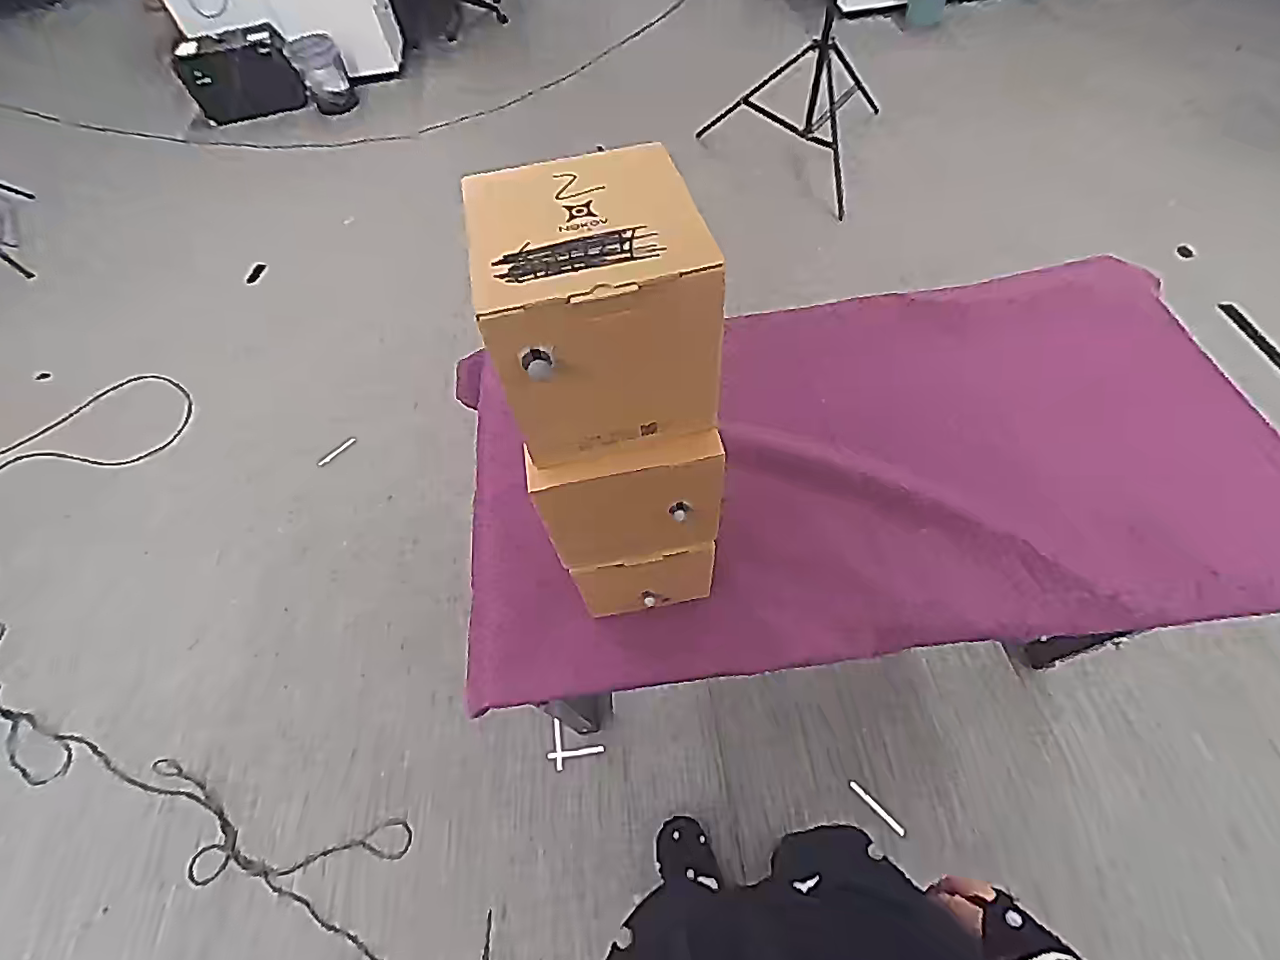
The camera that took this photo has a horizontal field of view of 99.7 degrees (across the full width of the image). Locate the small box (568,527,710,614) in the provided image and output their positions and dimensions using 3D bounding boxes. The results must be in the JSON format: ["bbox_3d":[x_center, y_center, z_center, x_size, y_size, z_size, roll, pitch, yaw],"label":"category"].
[{"bbox_3d":[-0.009,0.058,0.719,0.168,0.176,0.179,-10,59,-2],"label":"small box"}]

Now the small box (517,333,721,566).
[{"bbox_3d":[-0.022,-0.026,0.582,0.179,0.176,0.168,-12,57,-2],"label":"small box"}]
